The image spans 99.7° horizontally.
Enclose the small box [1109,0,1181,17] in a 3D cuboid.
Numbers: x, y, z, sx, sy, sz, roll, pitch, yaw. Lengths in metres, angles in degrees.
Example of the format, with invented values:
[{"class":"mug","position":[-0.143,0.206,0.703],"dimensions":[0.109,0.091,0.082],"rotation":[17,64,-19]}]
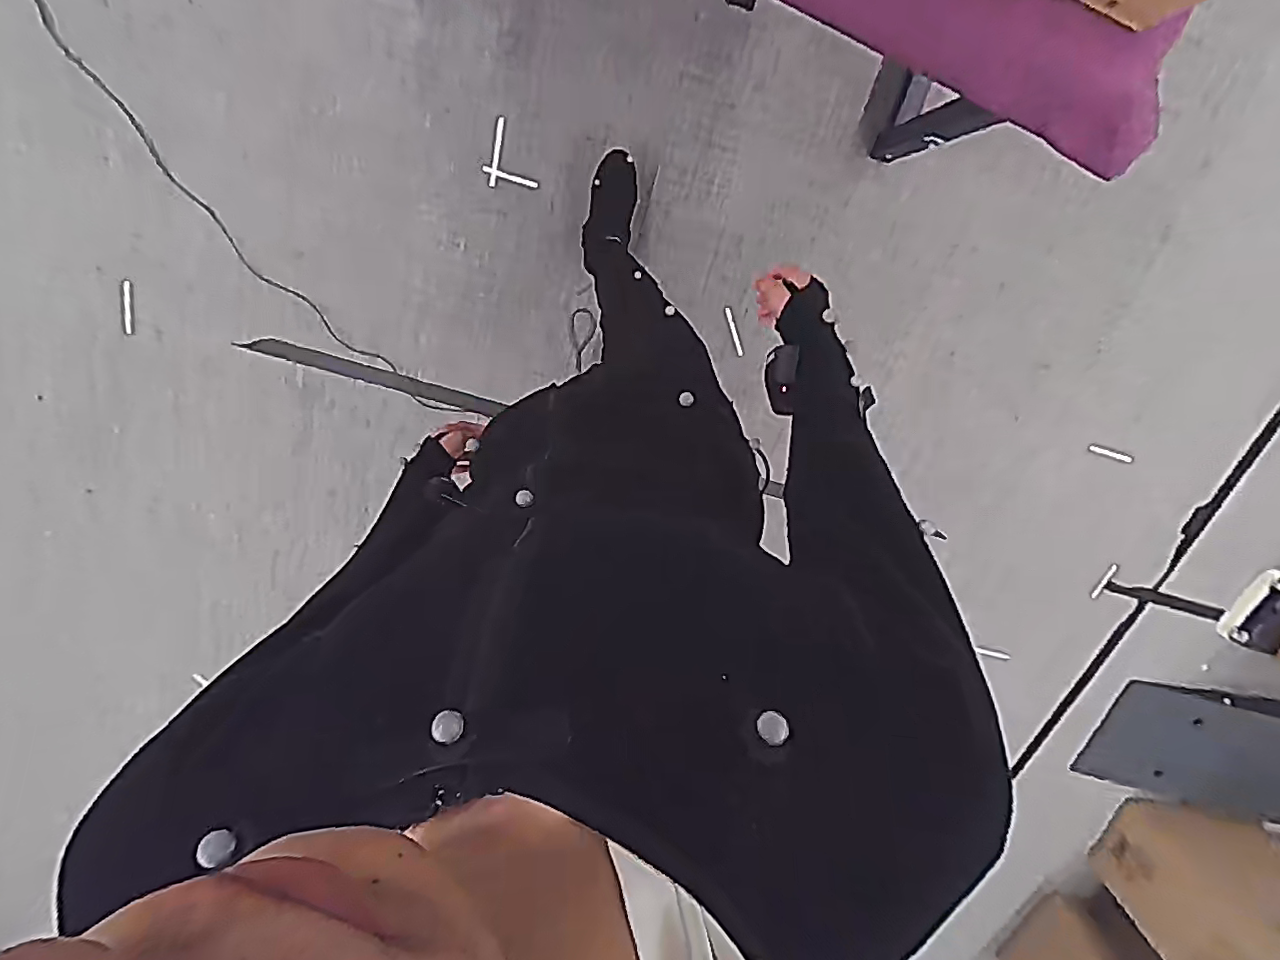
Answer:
[{"class":"small box","position":[0.571,-0.628,0.548],"dimensions":[0.168,0.176,0.179],"rotation":[18,109,-9]}]
